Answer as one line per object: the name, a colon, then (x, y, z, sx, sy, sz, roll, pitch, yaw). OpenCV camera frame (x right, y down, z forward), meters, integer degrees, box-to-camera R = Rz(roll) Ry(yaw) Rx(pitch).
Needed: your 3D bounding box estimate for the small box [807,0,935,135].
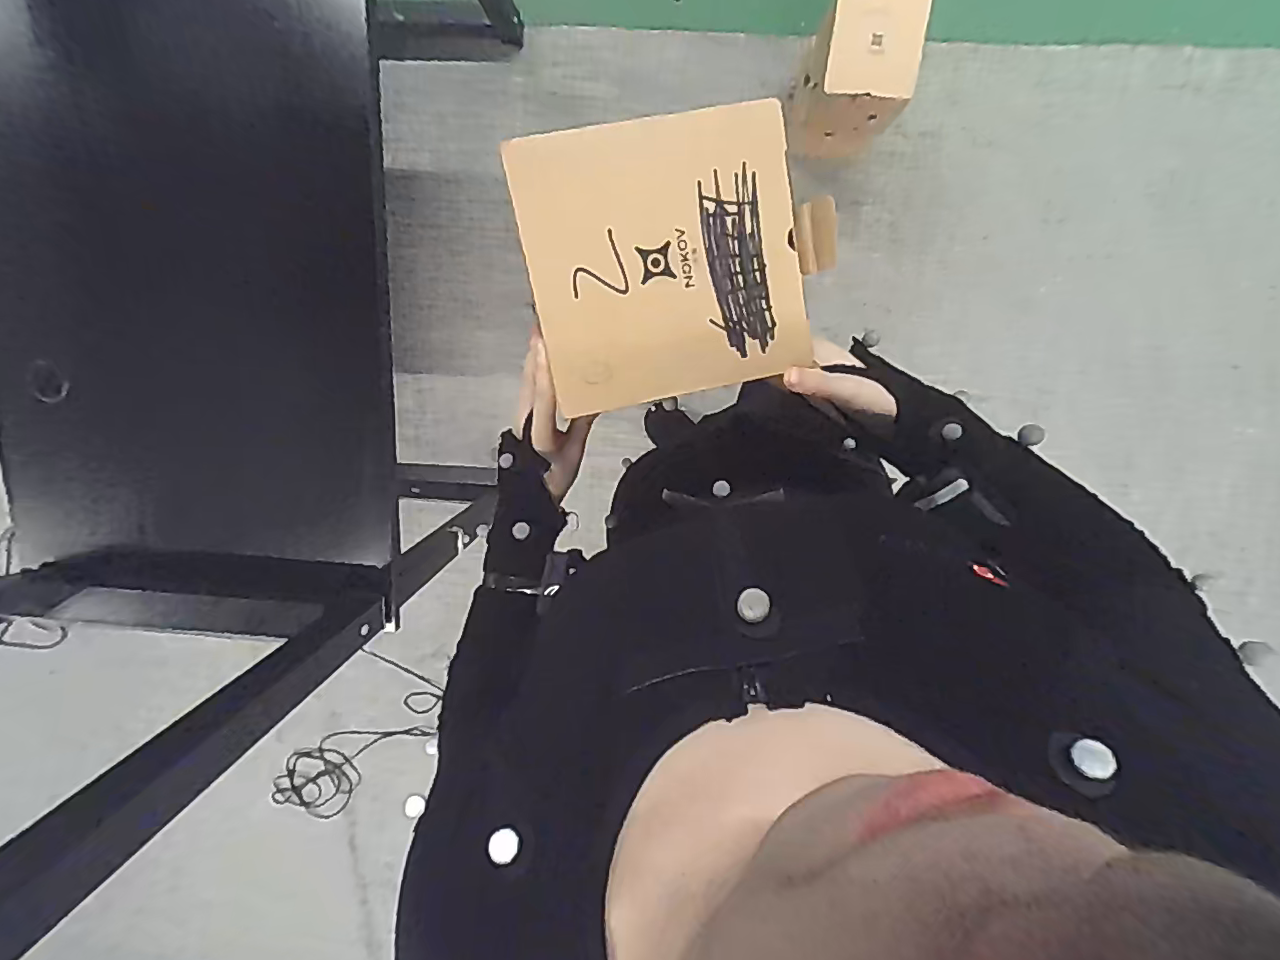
small box: (0.429, -0.790, 1.035, 0.168, 0.176, 0.179, 6, 102, 1)

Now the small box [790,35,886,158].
small box: (0.441, -0.833, 1.191, 0.179, 0.176, 0.168, 7, 103, 1)
